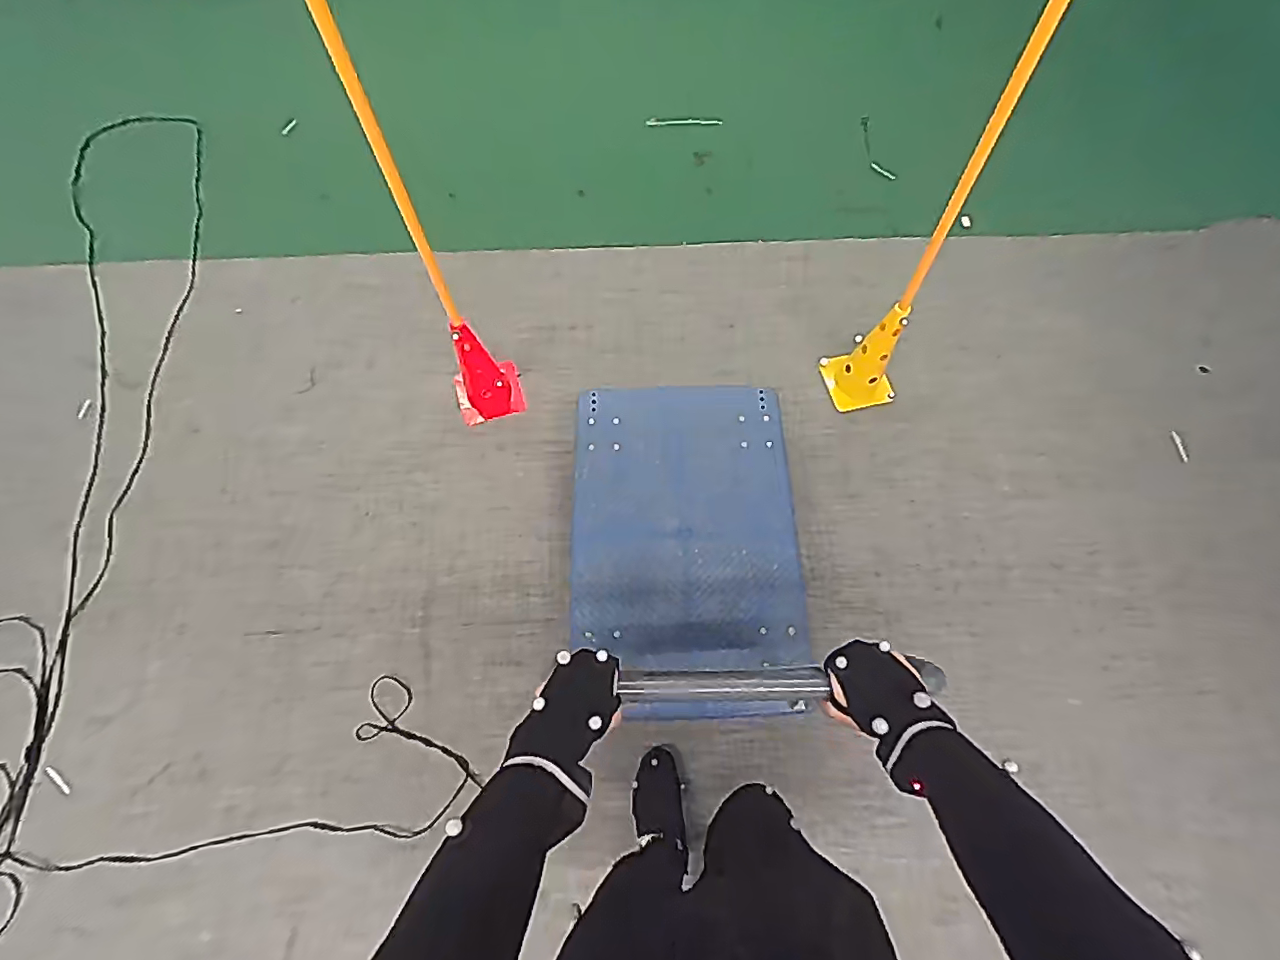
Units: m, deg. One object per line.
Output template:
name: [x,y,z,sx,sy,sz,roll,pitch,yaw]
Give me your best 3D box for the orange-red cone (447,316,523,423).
orange-red cone: [-0.487,-0.347,1.575,0.199,0.360,0.198,-16,69,-5]
